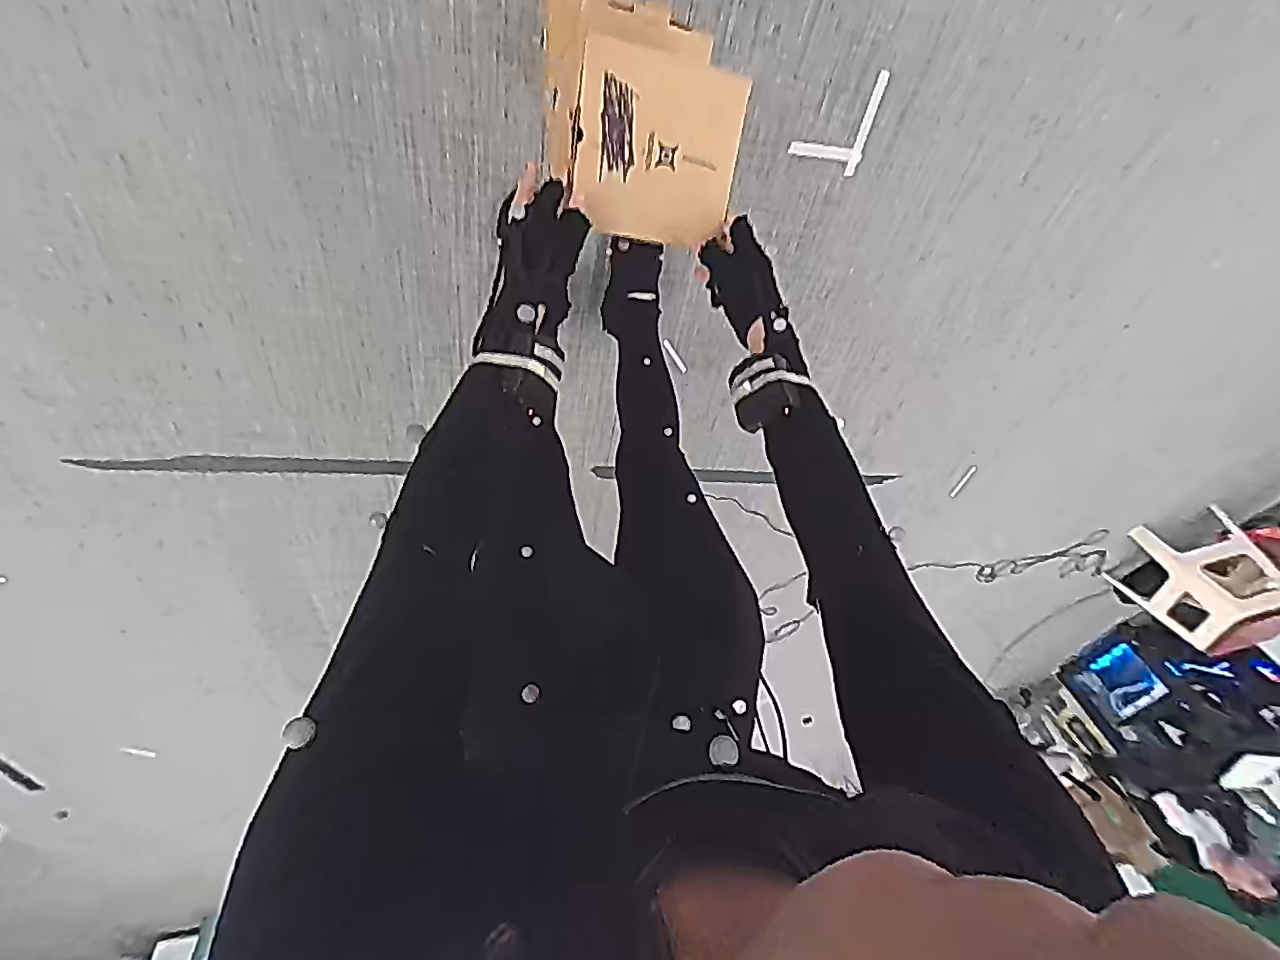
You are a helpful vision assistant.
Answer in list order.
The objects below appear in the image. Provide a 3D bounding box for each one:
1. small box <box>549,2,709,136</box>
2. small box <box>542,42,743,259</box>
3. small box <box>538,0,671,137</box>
[{"bbox_3d":[-0.029,-0.518,0.740,0.168,0.176,0.179,3,130,-18],"label":"small box"},{"bbox_3d":[-0.012,-0.356,0.622,0.179,0.176,0.168,1,113,-21],"label":"small box"},{"bbox_3d":[-0.065,-0.638,0.846,0.179,0.176,0.168,-1,132,-13],"label":"small box"}]
